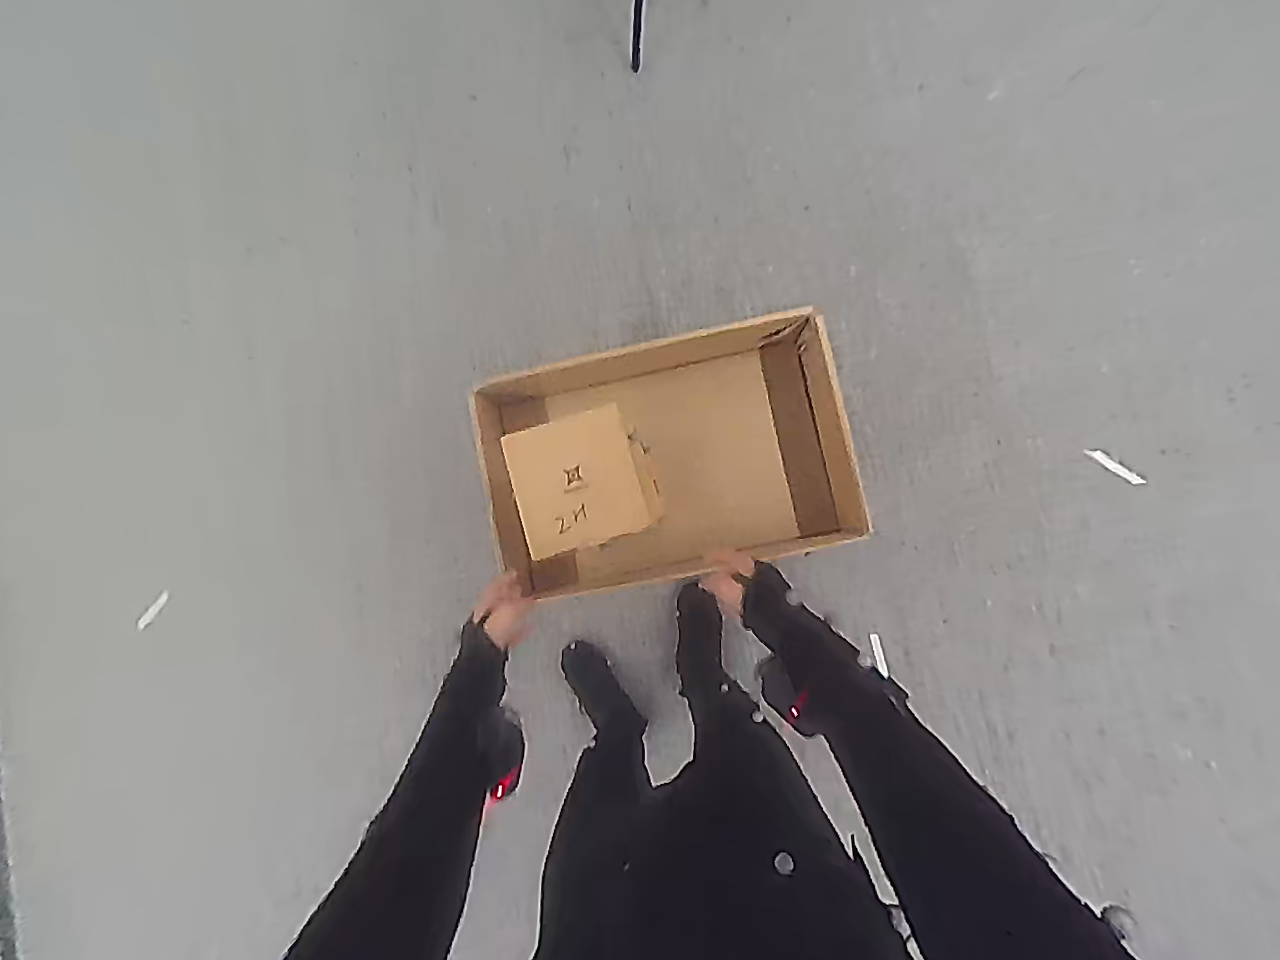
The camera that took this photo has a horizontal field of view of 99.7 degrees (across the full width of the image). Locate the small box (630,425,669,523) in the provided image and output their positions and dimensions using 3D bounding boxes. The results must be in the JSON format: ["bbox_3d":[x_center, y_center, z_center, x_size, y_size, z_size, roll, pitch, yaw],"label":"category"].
[{"bbox_3d":[-0.055,0.017,0.956,0.179,0.176,0.168,-19,84,3],"label":"small box"}]

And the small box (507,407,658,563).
[{"bbox_3d":[-0.075,0.013,0.792,0.168,0.176,0.179,-17,85,3],"label":"small box"}]
